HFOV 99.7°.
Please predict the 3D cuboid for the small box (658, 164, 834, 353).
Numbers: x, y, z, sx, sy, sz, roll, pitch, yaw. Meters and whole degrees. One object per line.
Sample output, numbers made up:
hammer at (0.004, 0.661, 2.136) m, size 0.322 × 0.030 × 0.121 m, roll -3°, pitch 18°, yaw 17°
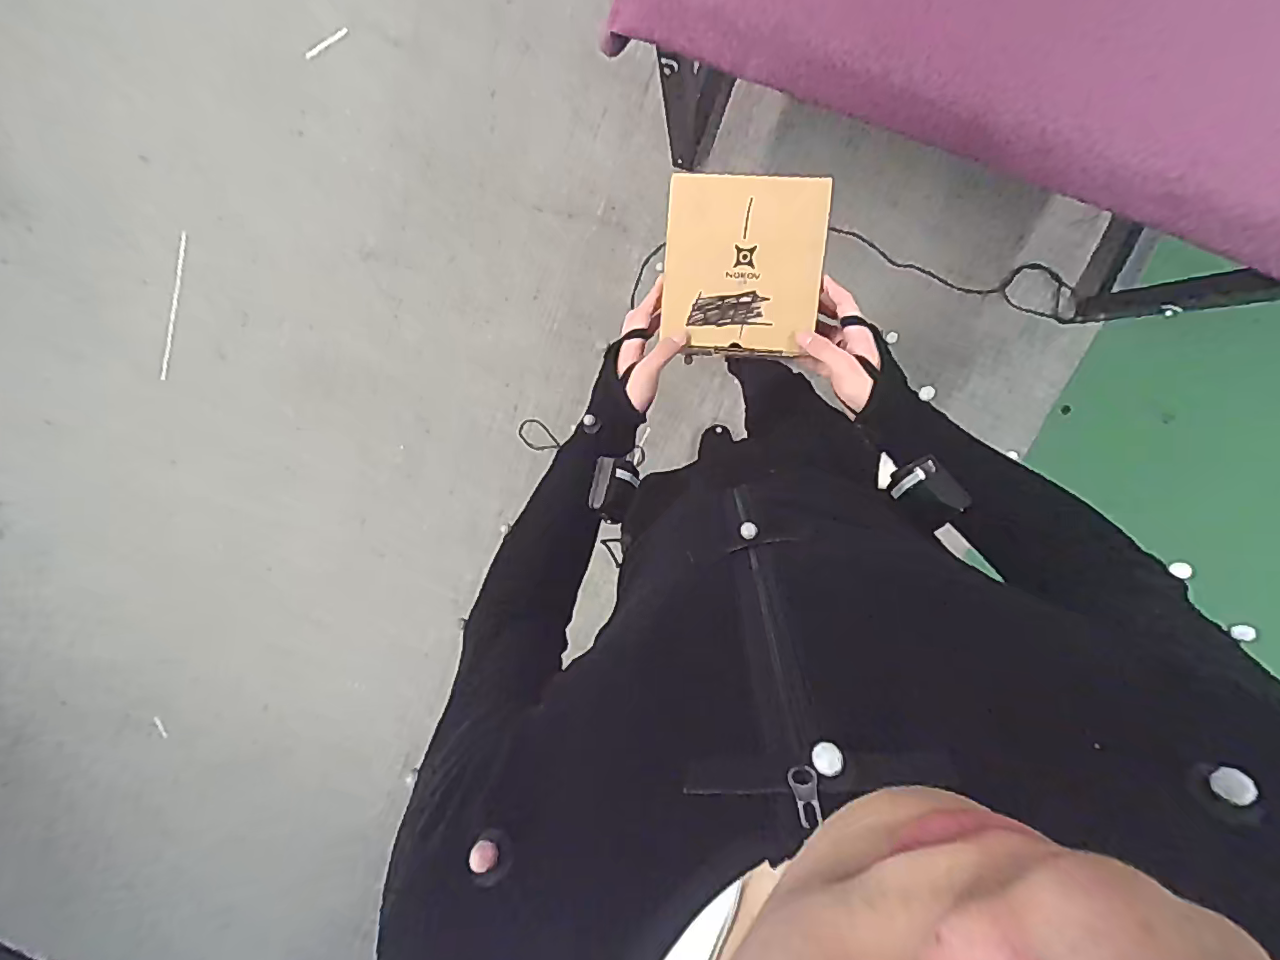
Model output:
small box at (0.114, -0.245, 0.638) m, size 0.168 × 0.176 × 0.179 m, roll 5°, pitch 101°, yaw 4°
